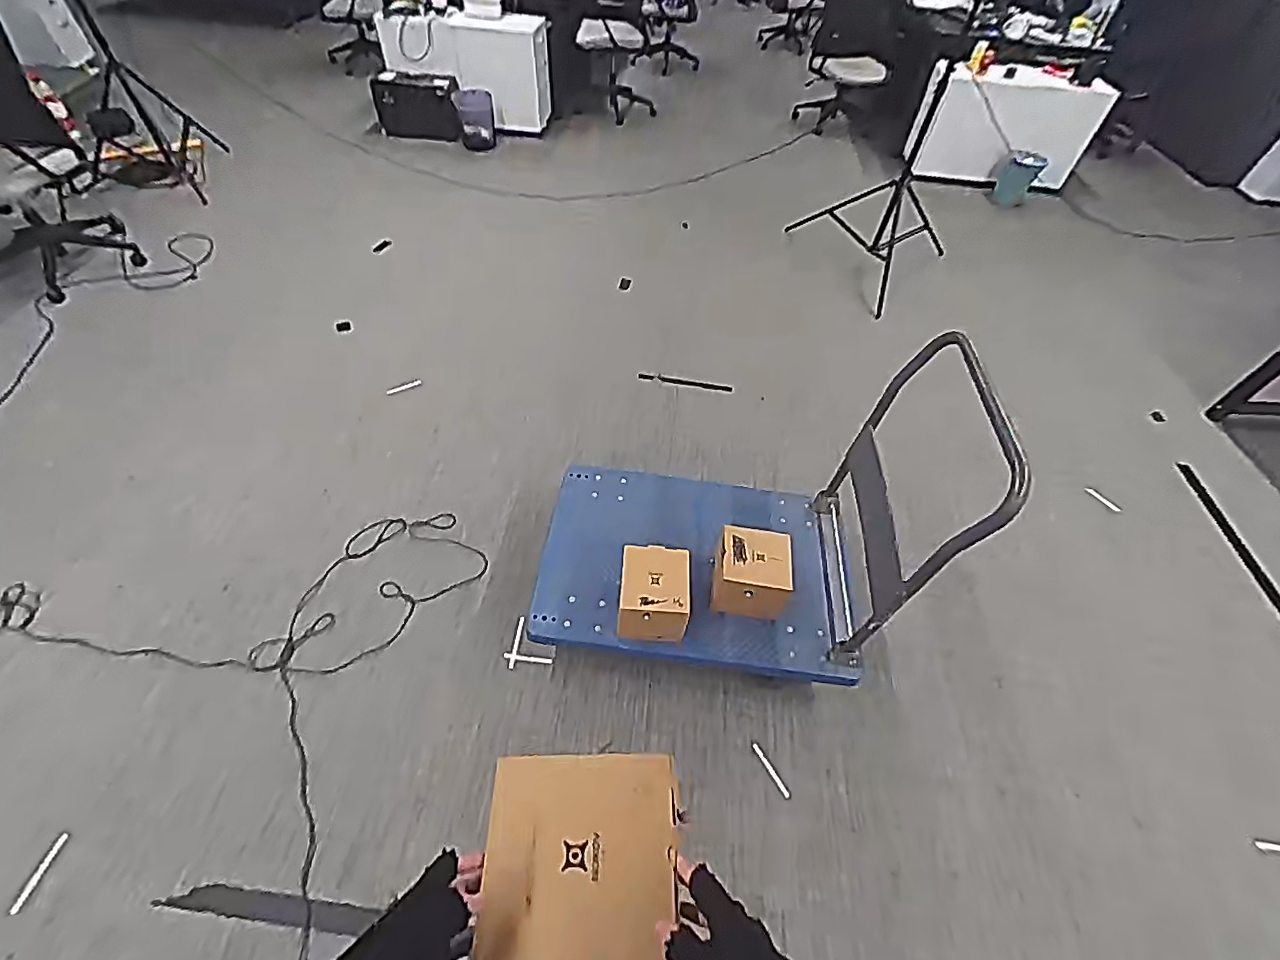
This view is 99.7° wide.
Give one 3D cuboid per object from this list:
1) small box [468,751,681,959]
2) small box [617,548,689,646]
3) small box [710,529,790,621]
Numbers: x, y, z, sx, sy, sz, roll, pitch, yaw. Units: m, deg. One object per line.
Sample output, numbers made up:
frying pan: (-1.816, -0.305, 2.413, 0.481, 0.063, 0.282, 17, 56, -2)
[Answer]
small box: (-0.049, 0.382, 0.547, 0.179, 0.176, 0.168, -4, 50, 4)
small box: (0.031, 0.296, 1.366, 0.168, 0.176, 0.179, 4, 49, -1)
small box: (0.286, 0.254, 1.423, 0.179, 0.176, 0.168, 9, 50, 2)
